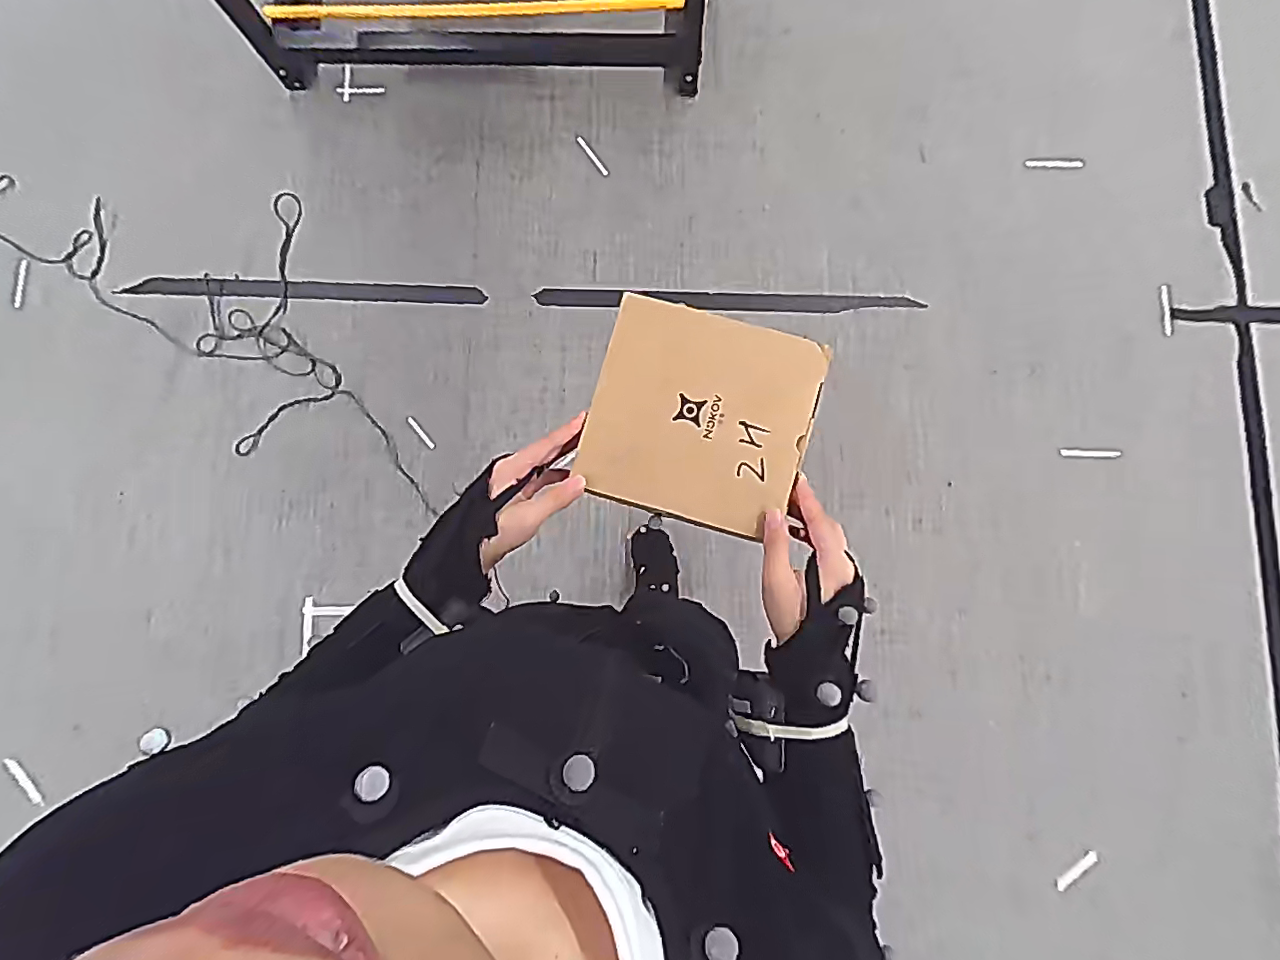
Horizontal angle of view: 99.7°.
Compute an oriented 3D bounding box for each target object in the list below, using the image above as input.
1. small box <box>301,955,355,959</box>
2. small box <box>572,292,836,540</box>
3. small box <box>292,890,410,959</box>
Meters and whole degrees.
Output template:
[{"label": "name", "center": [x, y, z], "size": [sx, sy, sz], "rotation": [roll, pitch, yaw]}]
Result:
[{"label": "small box", "center": [-0.598, 1.005, 0.970], "size": [0.179, 0.176, 0.168], "rotation": [5, 84, 0]}, {"label": "small box", "center": [0.054, -0.047, 0.507], "size": [0.179, 0.176, 0.168], "rotation": [16, 87, 3]}, {"label": "small box", "center": [-0.600, 1.008, 1.135], "size": [0.168, 0.176, 0.179], "rotation": [-1, 83, 0]}]
